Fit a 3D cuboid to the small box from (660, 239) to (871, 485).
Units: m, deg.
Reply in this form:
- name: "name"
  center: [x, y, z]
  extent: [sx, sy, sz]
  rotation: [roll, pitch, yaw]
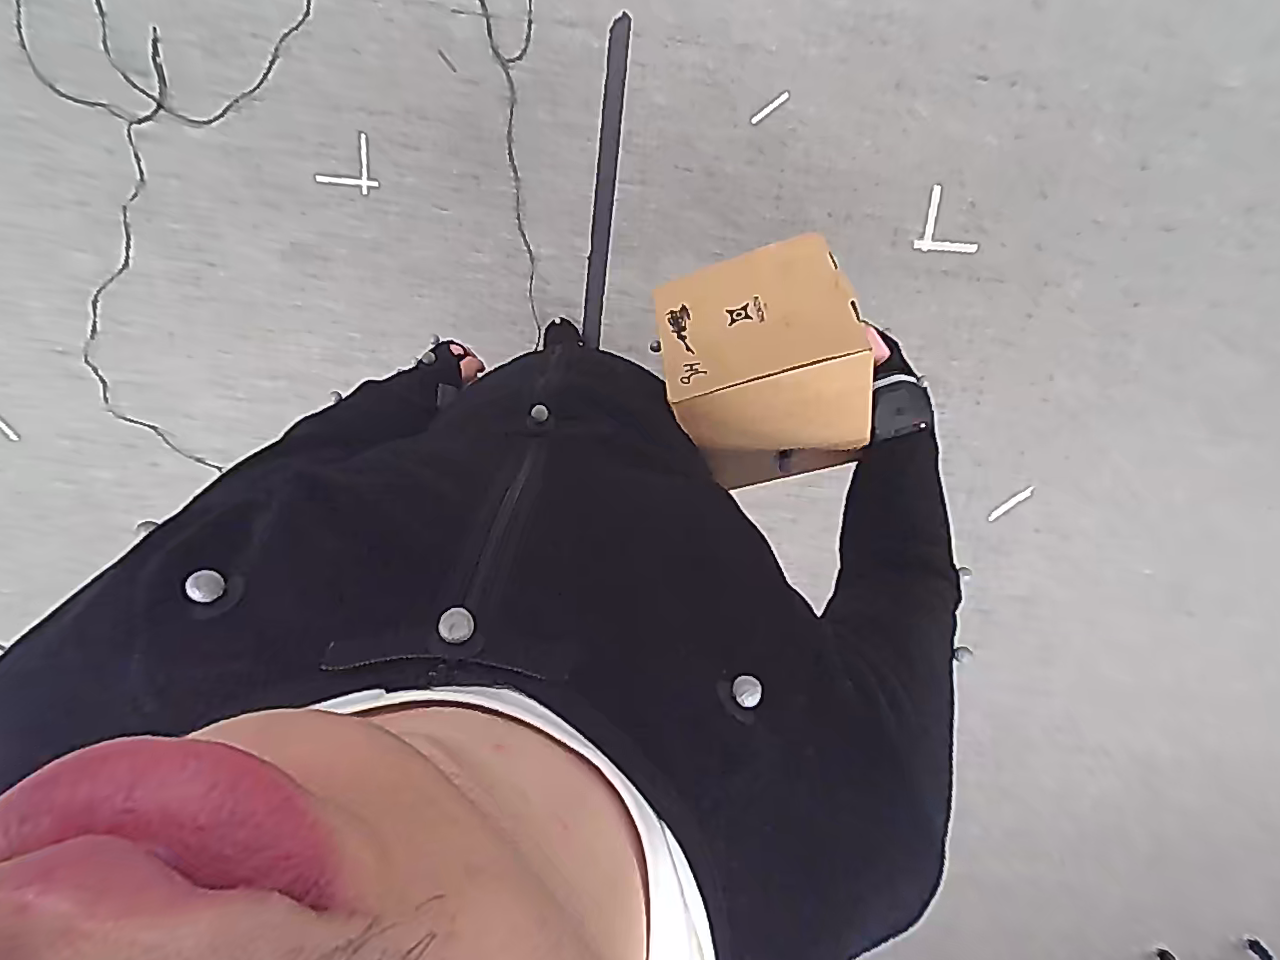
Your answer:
- name: "small box"
  center: [0.133, -0.117, 0.584]
  extent: [0.179, 0.168, 0.176]
  rotation: [-14, 145, 13]
